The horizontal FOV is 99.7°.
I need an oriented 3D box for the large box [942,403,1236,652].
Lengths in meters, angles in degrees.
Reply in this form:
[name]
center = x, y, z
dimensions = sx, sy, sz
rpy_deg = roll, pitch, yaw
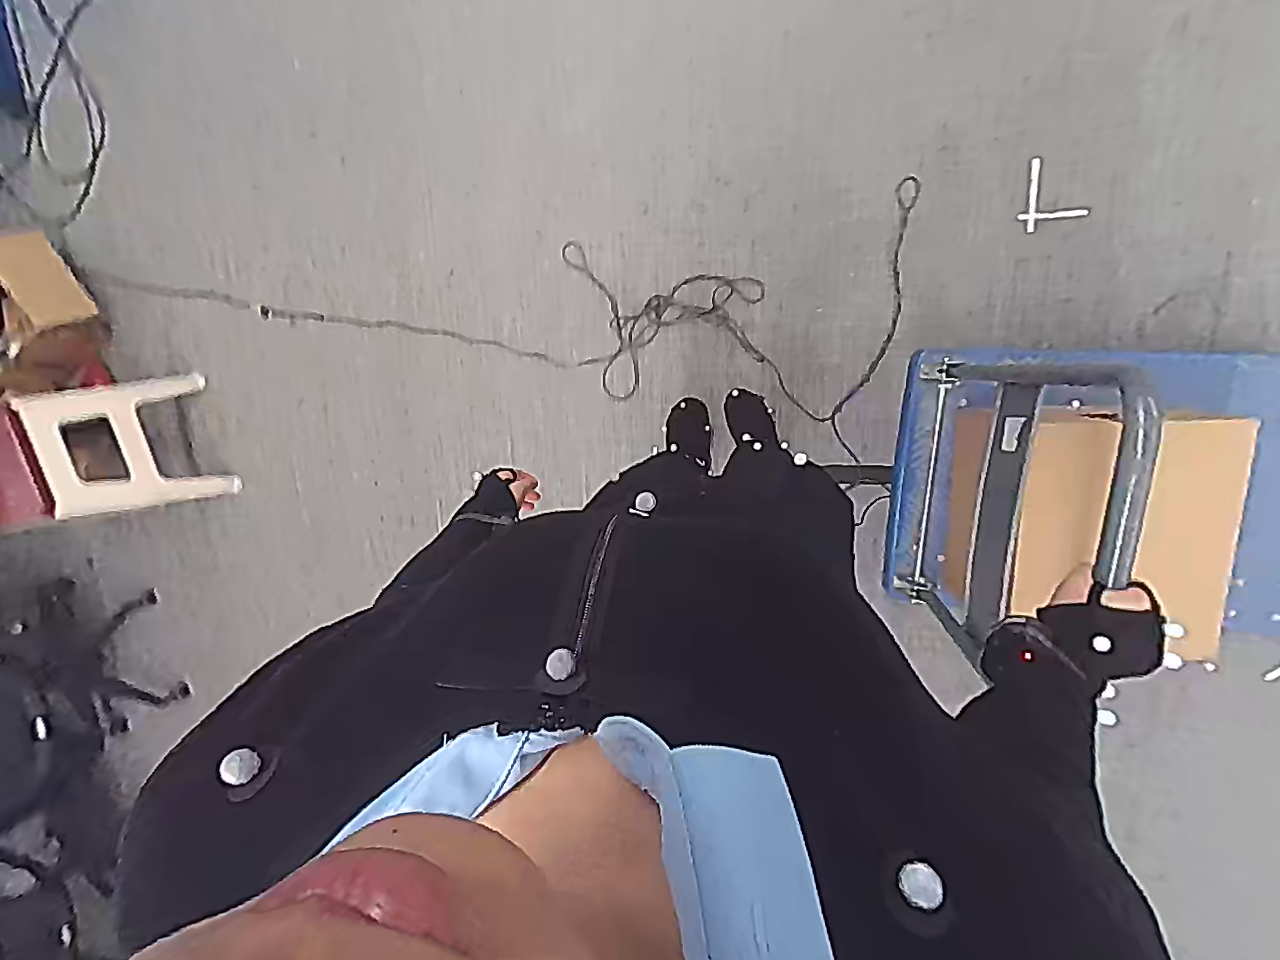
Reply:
[large box]
center = 0.809, 0.069, 1.042
dimensions = 0.320, 0.320, 0.408
rpy_deg = 0, 102, 11
